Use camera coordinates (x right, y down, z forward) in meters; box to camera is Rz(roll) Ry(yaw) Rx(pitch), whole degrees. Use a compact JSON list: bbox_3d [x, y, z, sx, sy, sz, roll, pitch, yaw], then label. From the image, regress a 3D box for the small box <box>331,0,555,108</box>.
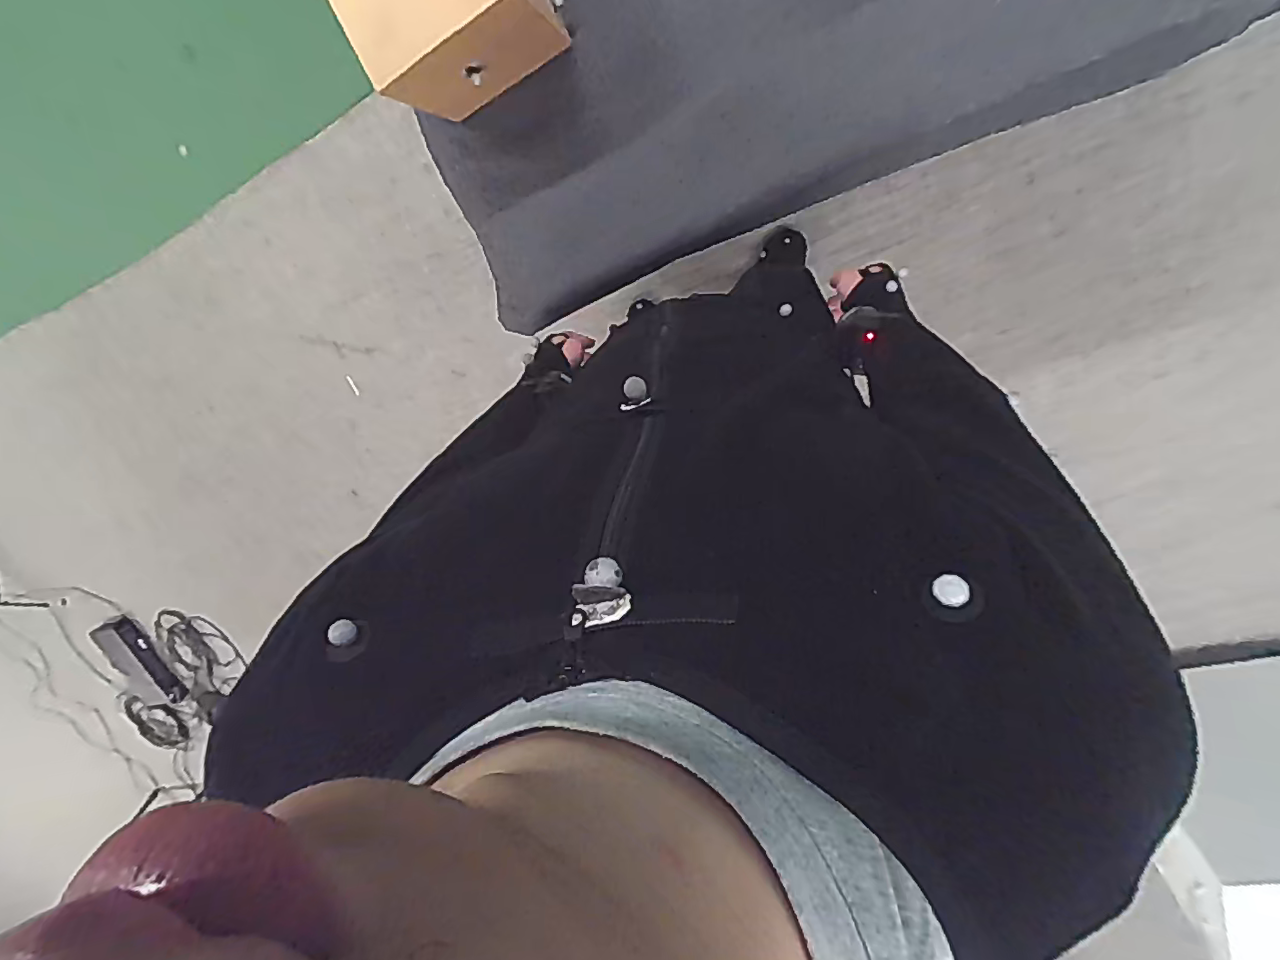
[{"bbox_3d":[-0.206,-0.525,0.558,0.179,0.176,0.168,-18,110,21],"label":"small box"}]
